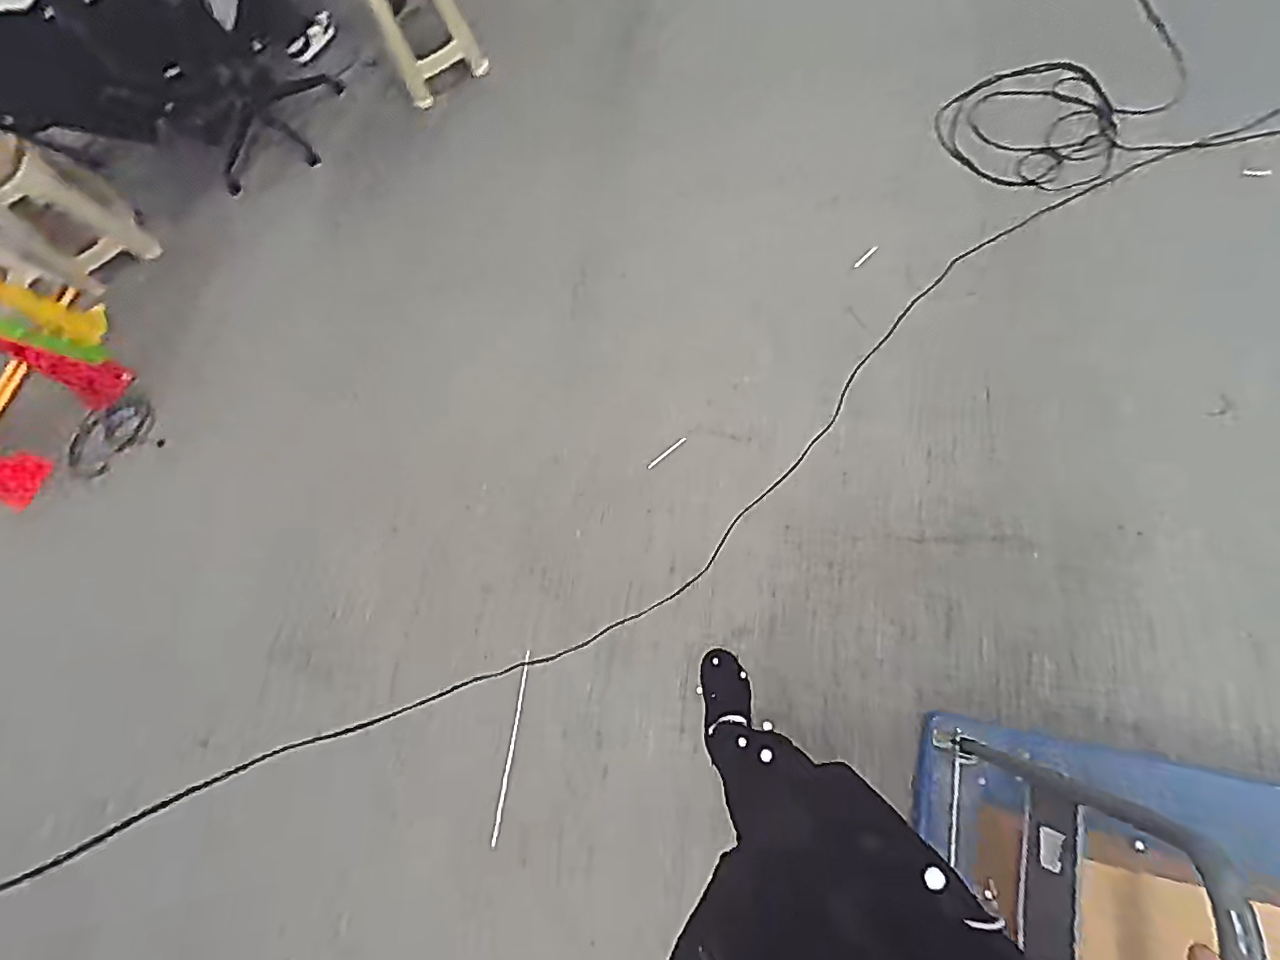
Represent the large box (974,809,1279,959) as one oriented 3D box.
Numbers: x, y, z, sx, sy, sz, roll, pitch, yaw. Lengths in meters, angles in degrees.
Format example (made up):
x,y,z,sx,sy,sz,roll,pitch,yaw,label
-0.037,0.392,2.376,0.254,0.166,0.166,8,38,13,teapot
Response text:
x,y,z,sx,sy,sz,roll,pitch,yaw,label
0.814,0.775,0.867,0.408,0.320,0.320,7,74,13,large box
